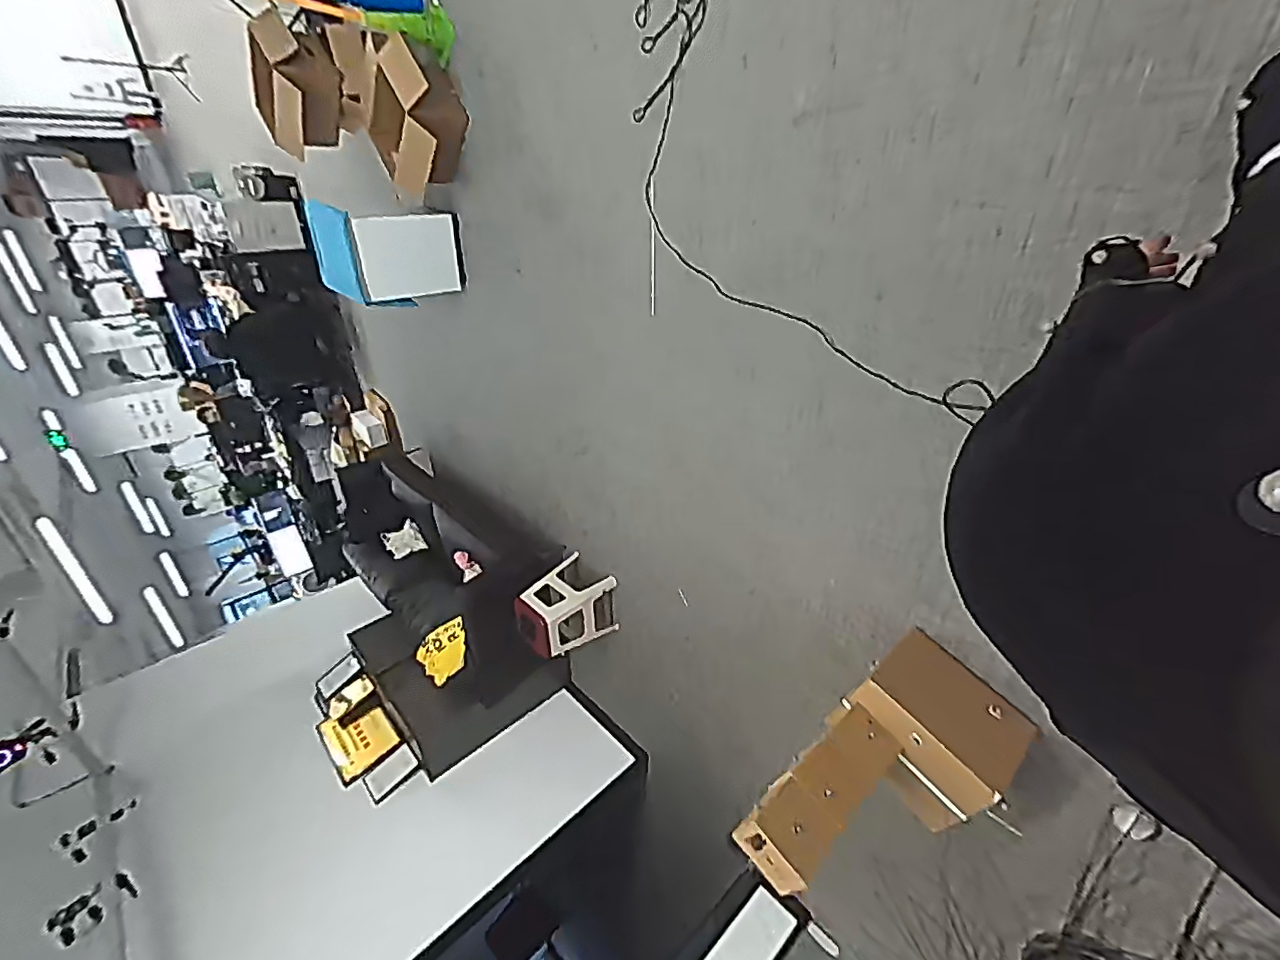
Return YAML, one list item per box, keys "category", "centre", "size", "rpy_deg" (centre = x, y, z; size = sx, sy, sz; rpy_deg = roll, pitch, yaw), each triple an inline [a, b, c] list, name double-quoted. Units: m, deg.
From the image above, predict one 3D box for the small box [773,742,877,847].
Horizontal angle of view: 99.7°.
- category: "small box"
  centre: [0.508, 0.856, 1.487]
  size: [0.179, 0.176, 0.168]
  rpy_deg: [44, 140, 25]

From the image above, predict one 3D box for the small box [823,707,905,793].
- category: "small box"
  centre: [0.634, 0.805, 1.577]
  size: [0.168, 0.176, 0.179]
  rpy_deg: [44, 140, 27]
